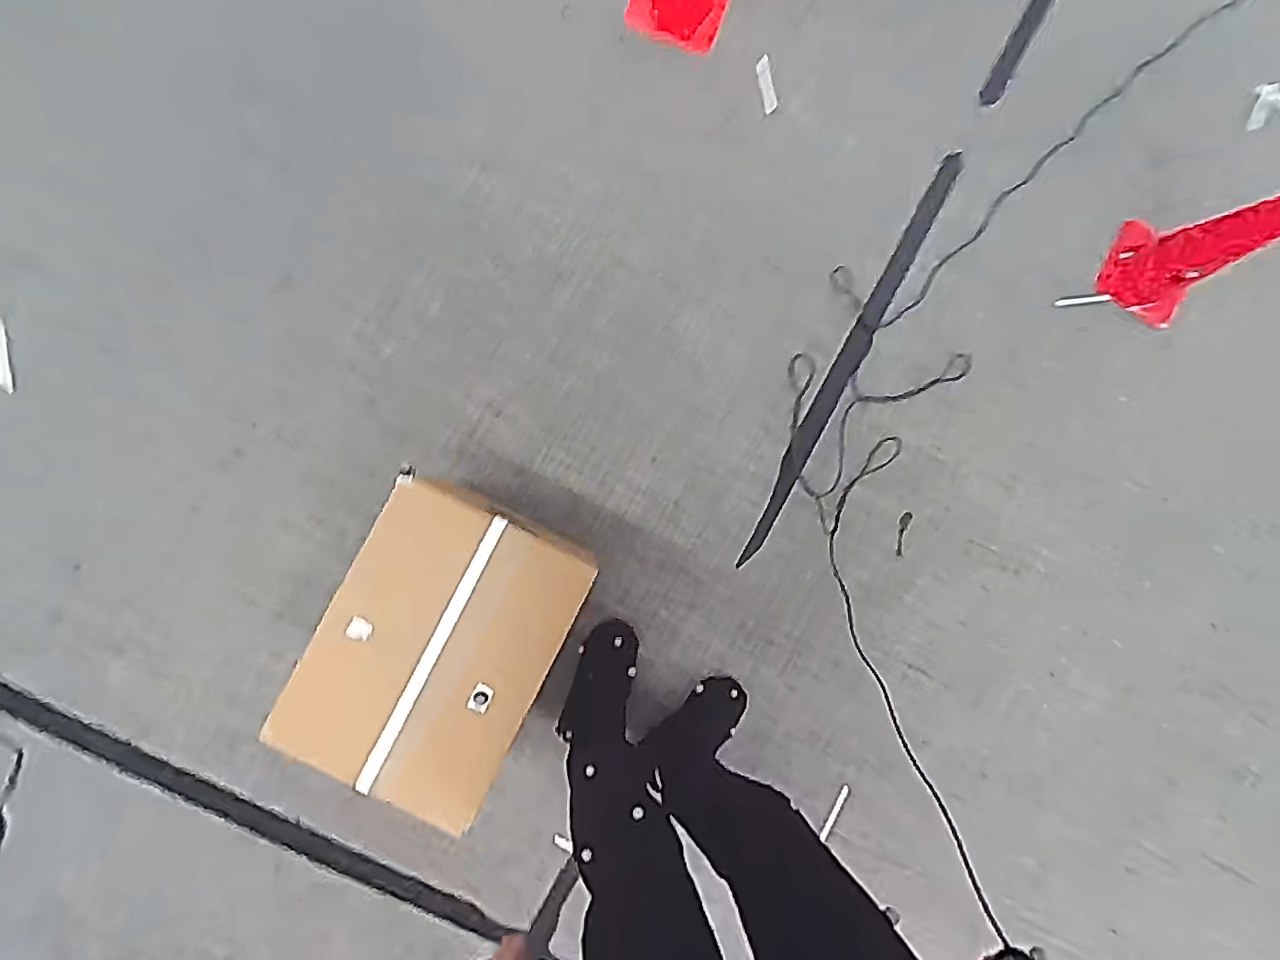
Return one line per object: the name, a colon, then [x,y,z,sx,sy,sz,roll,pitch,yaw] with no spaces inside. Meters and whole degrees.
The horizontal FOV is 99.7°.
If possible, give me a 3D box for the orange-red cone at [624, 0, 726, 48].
orange-red cone: [0.098,-1.043,0.978,0.199,0.360,0.198,20,84,-3]
